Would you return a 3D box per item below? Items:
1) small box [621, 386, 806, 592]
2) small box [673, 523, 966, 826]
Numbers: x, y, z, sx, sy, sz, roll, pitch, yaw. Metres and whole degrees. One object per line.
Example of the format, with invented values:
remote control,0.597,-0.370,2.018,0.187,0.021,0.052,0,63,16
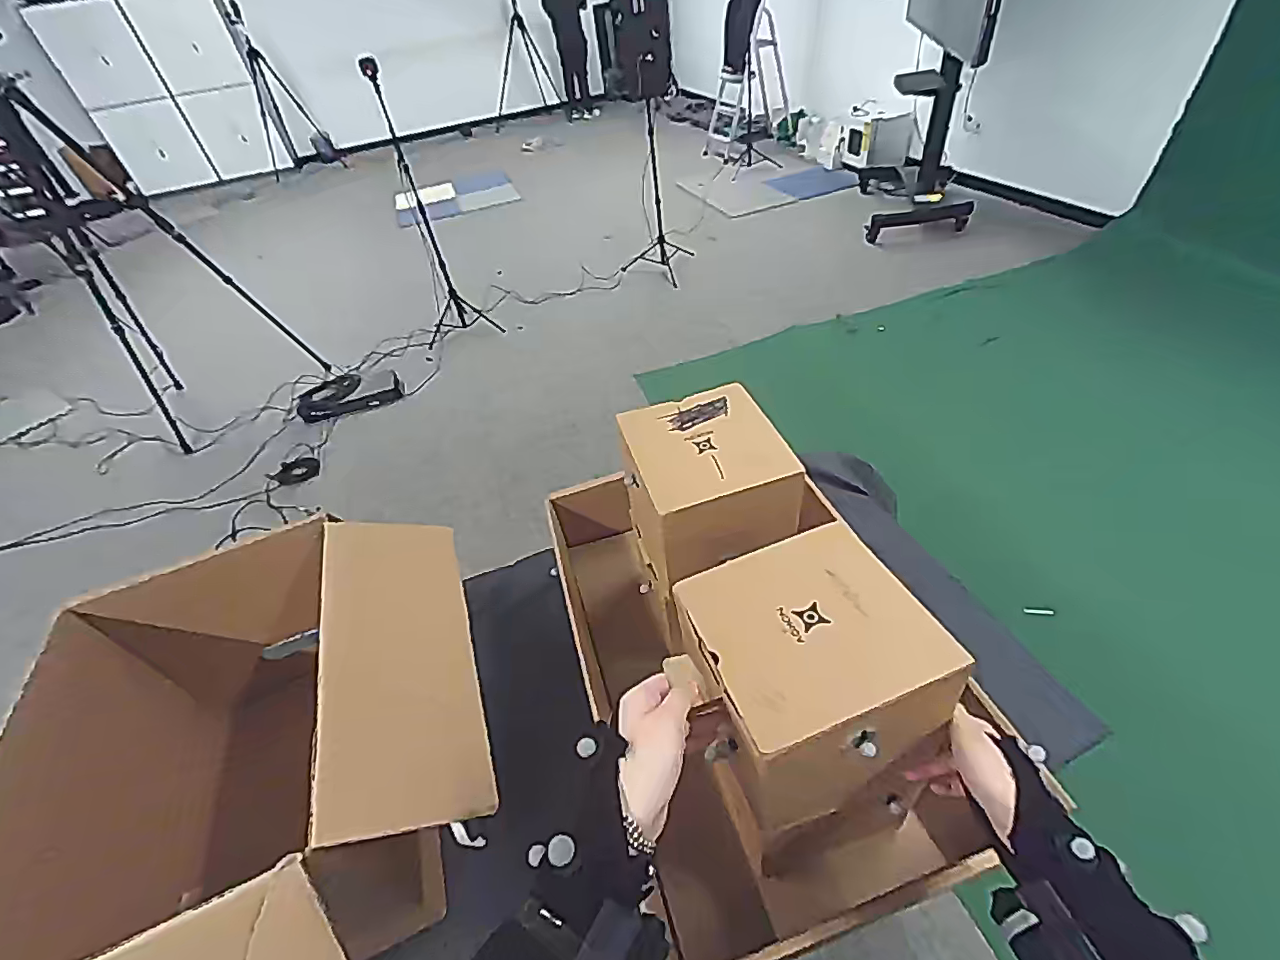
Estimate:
small box,0.082,0.015,0.672,0.168,0.176,0.179,-16,46,-7
small box,0.148,0.175,0.490,0.179,0.176,0.168,-19,41,-9
